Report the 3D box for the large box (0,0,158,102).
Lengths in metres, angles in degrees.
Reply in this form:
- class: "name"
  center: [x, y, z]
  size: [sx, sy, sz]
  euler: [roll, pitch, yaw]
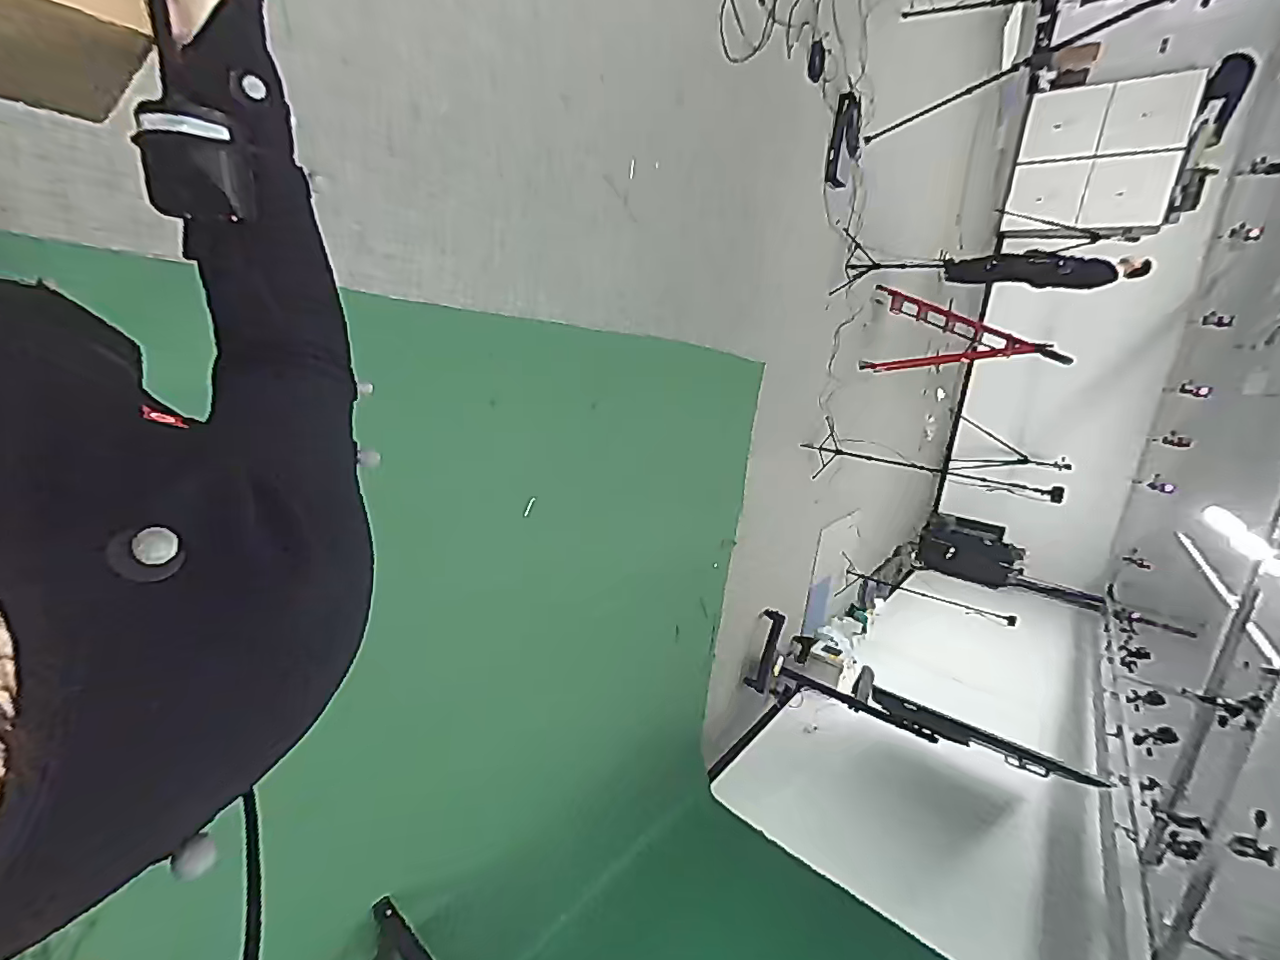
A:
- class: "large box"
  center: [-0.534, -0.446, 0.248]
  size: [0.408, 0.320, 0.320]
  euler: [-11, 113, -49]
